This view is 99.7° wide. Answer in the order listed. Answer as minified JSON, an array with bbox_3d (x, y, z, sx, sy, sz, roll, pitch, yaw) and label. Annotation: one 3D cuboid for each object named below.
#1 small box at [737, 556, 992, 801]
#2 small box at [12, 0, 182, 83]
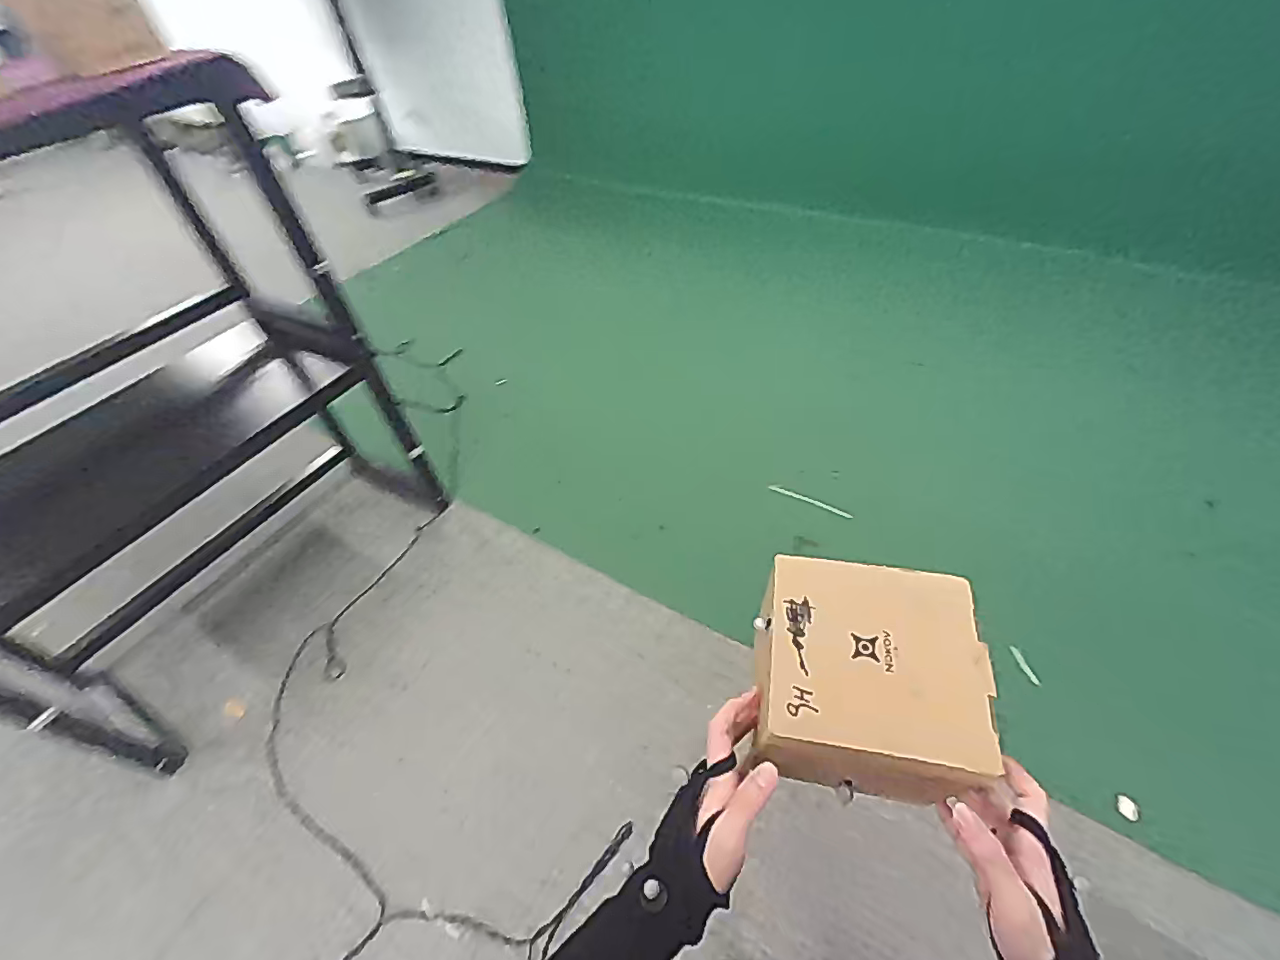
[{"bbox_3d":[0.196,0.196,0.523,0.179,0.176,0.168,6,52,8],"label":"small box"},{"bbox_3d":[-1.063,-0.897,1.058,0.179,0.176,0.168,21,53,26],"label":"small box"}]
